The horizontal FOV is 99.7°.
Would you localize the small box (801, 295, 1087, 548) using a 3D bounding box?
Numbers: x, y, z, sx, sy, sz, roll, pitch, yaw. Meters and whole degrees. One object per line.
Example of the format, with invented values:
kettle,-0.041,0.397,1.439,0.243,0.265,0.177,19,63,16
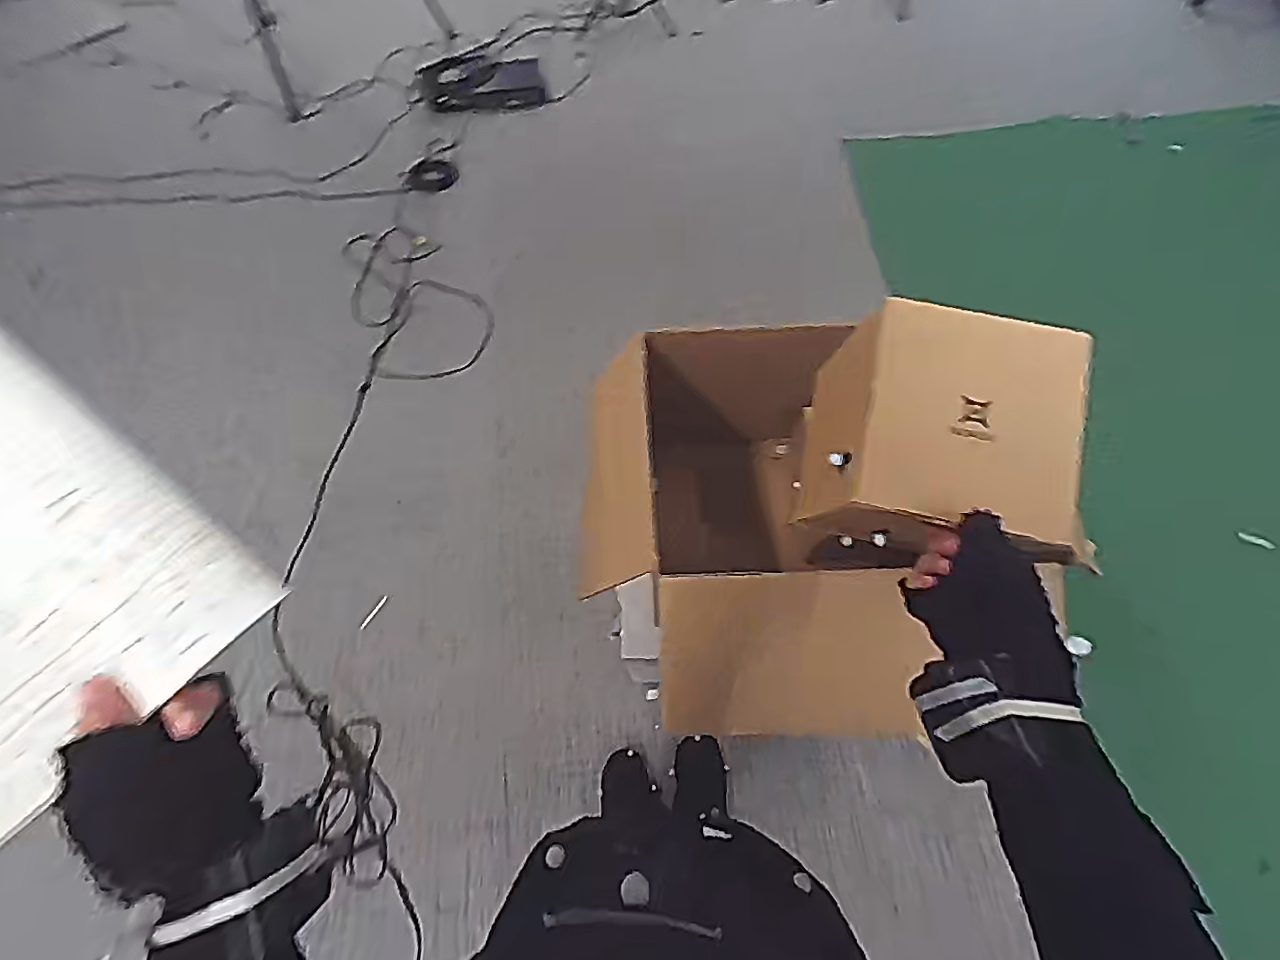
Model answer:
small box,0.261,-0.039,0.500,0.168,0.176,0.179,11,81,1
